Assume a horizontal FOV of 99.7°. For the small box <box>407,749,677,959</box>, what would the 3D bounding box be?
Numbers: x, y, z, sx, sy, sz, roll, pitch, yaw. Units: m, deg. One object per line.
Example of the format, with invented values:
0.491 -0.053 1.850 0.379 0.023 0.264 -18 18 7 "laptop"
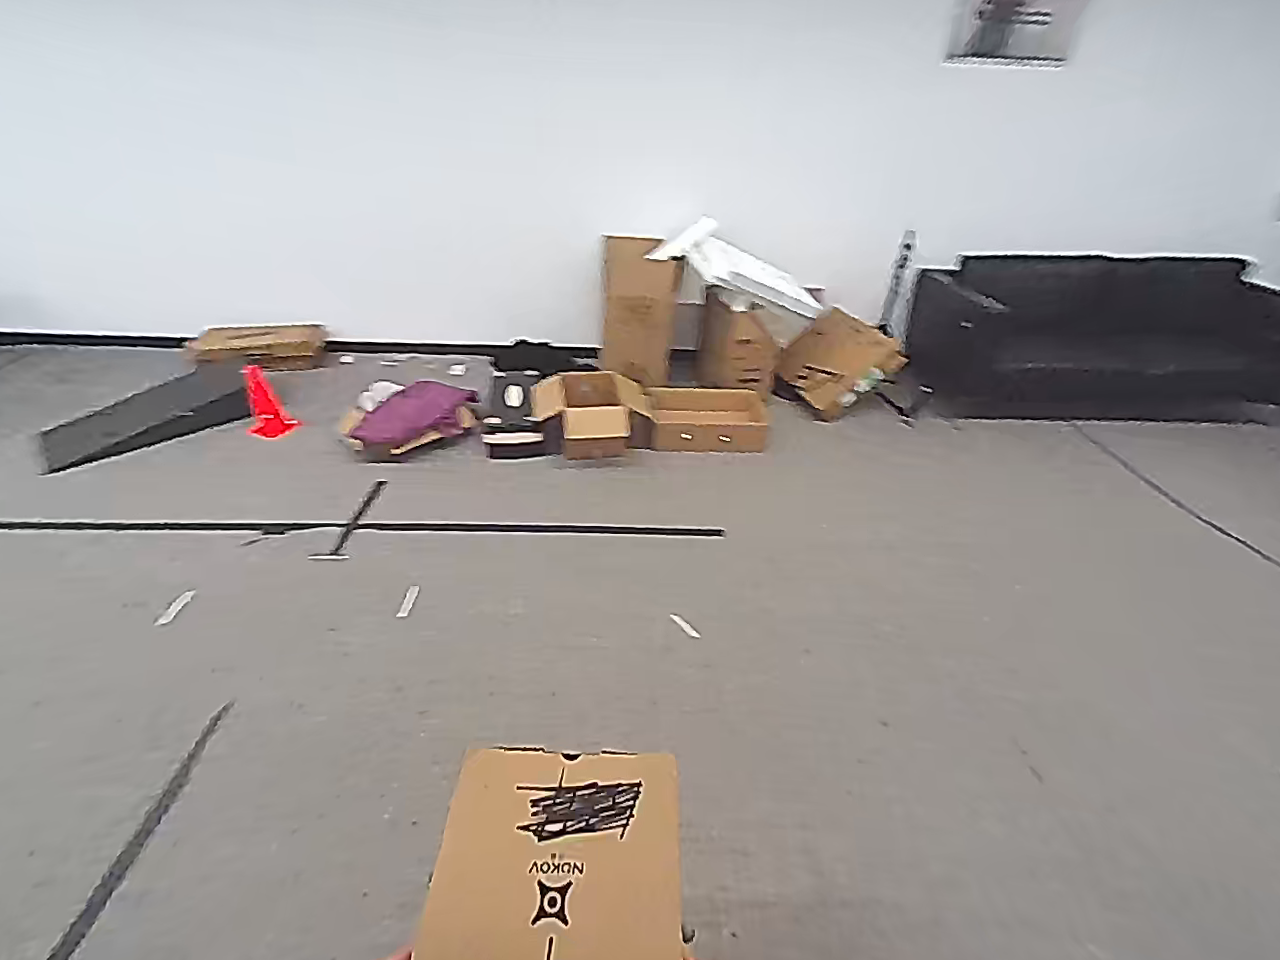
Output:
-0.061 0.328 0.406 0.168 0.176 0.179 1 40 -1 "small box"
